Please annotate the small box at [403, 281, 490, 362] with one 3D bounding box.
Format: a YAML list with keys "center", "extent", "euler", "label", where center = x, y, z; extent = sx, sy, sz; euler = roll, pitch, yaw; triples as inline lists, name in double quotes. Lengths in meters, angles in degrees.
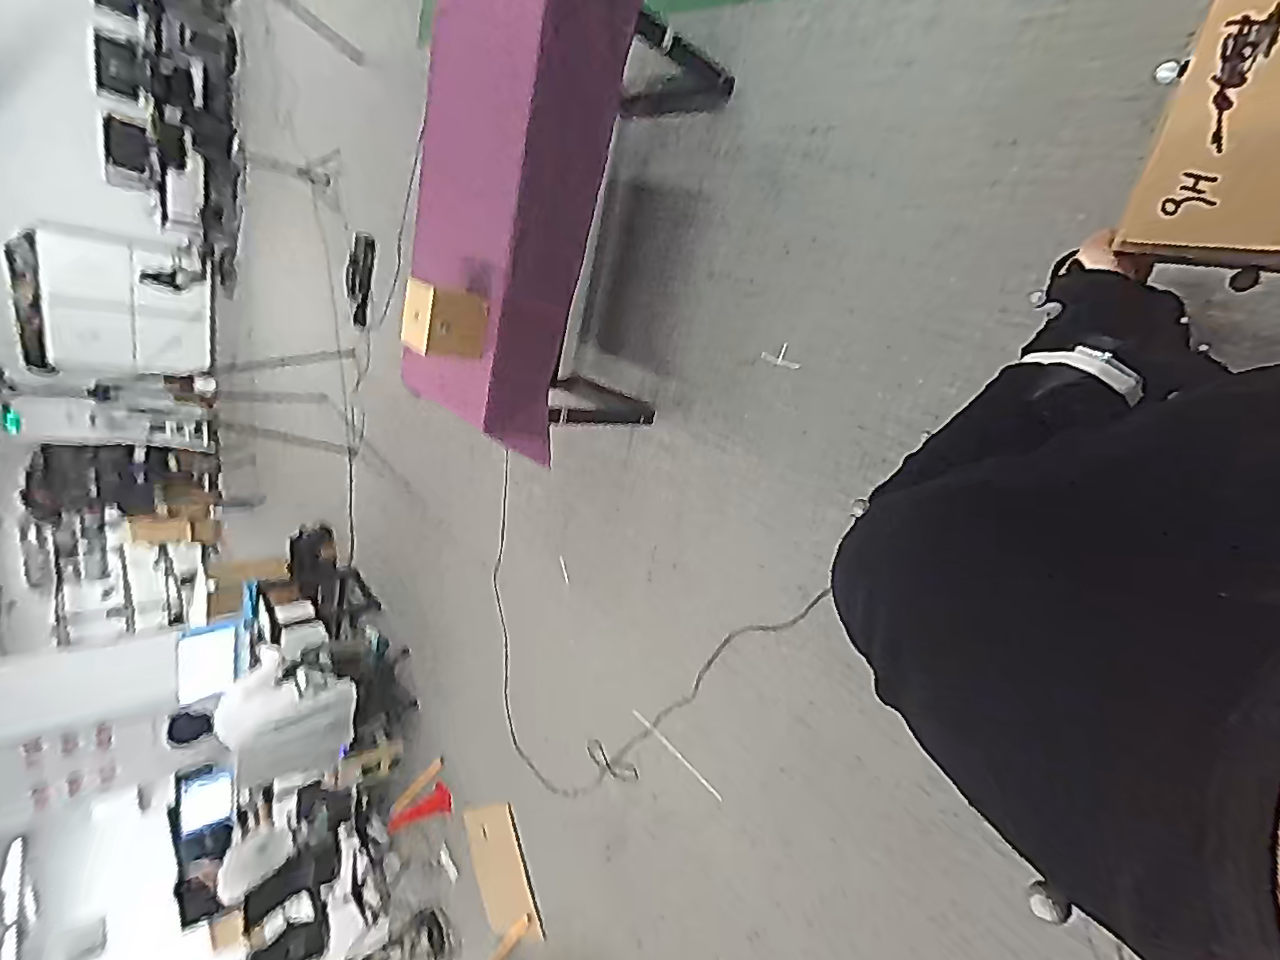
- center: [-0.544, -0.441, 1.523]
  extent: [0.168, 0.176, 0.179]
  euler: [32, 114, 37]
  label: "small box"
